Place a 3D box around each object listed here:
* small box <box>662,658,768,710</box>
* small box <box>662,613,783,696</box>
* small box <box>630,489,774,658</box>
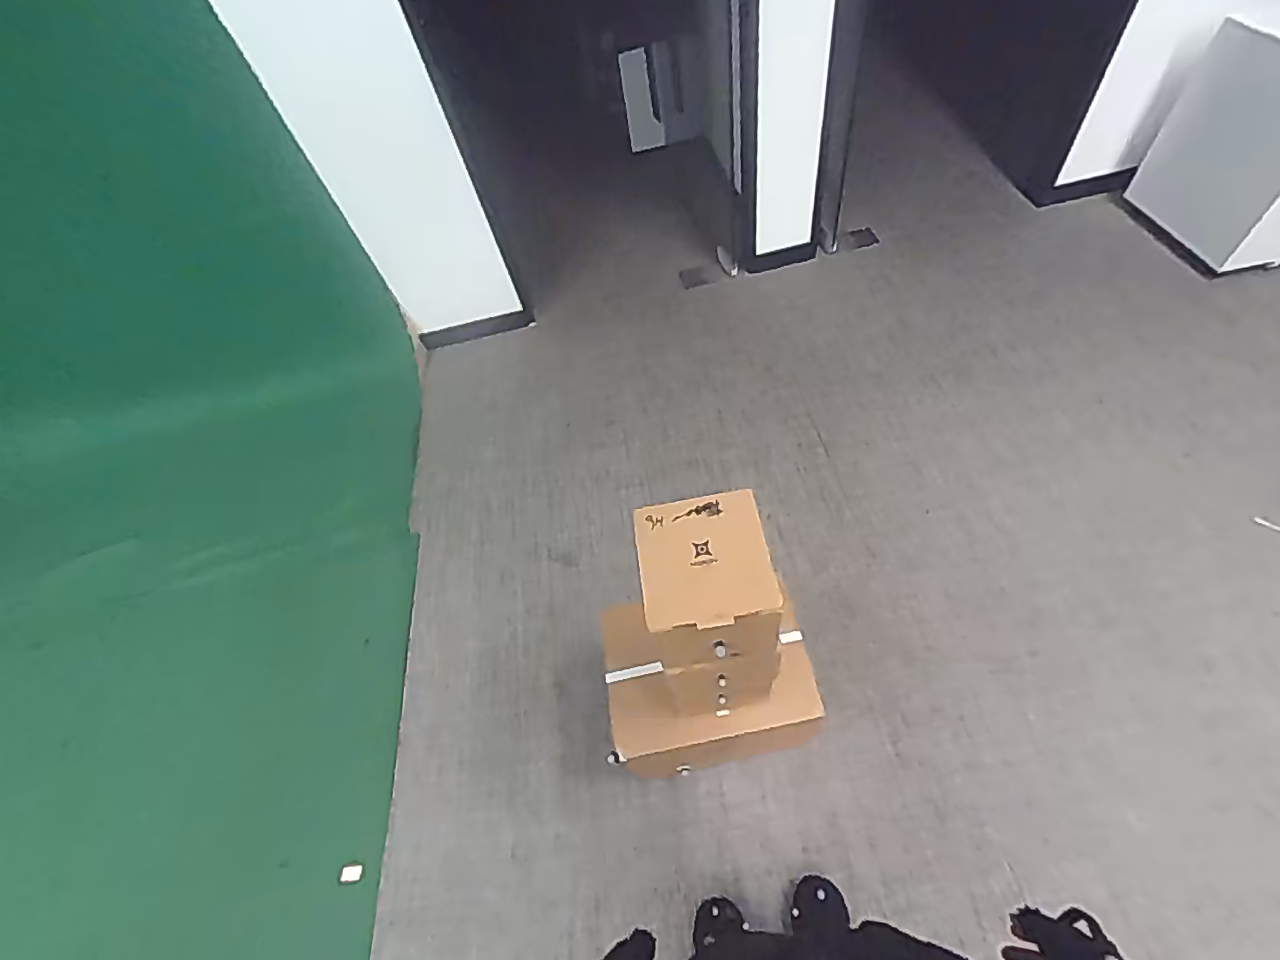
[{"bbox_3d":[0.133,0.324,1.021,0.179,0.176,0.168,-11,56,2],"label":"small box"},{"bbox_3d":[0.116,0.237,0.883,0.179,0.176,0.168,-14,56,0],"label":"small box"},{"bbox_3d":[0.087,0.139,0.754,0.168,0.176,0.179,-10,56,5],"label":"small box"}]
